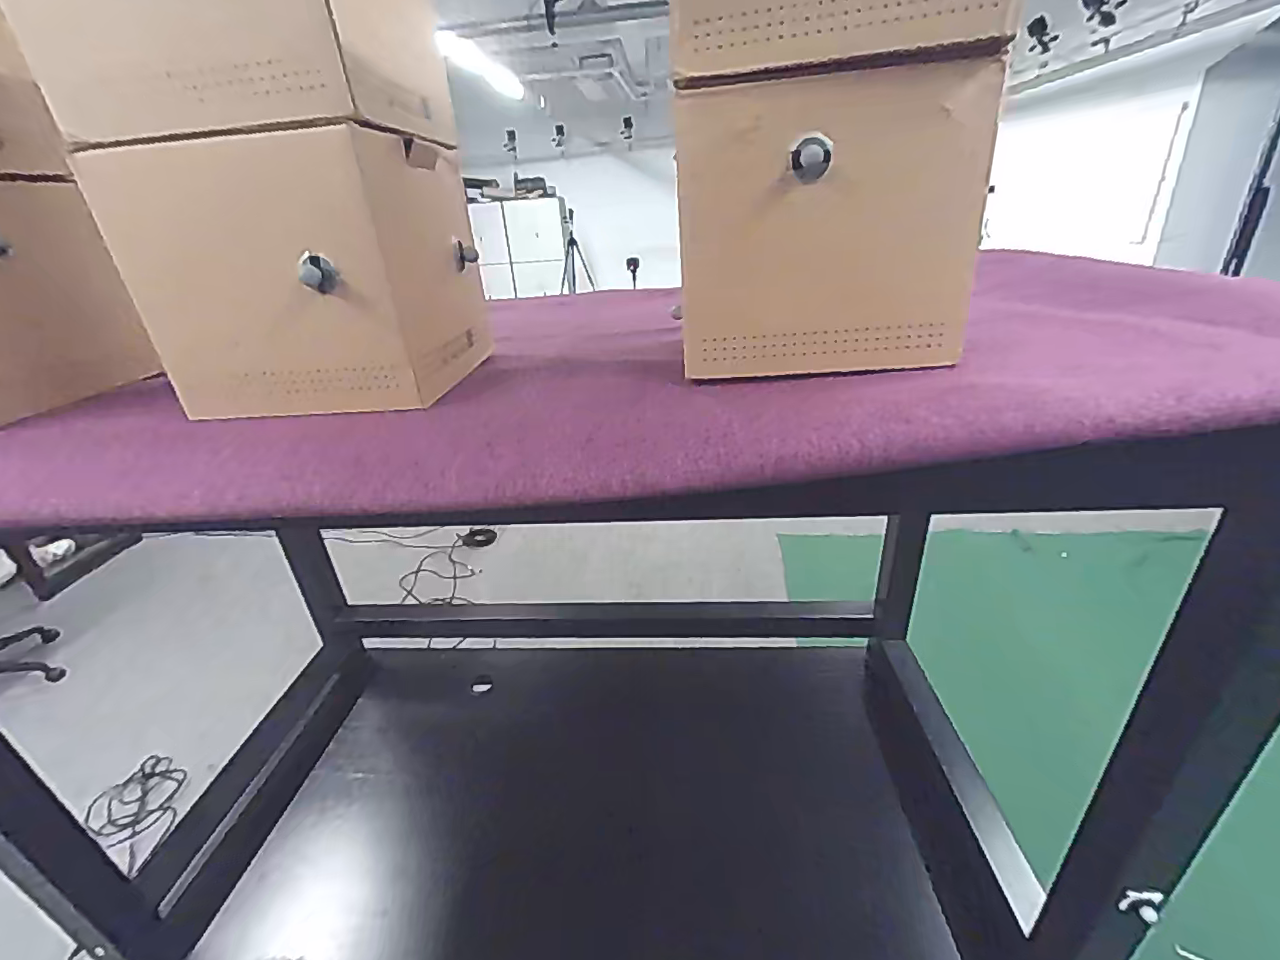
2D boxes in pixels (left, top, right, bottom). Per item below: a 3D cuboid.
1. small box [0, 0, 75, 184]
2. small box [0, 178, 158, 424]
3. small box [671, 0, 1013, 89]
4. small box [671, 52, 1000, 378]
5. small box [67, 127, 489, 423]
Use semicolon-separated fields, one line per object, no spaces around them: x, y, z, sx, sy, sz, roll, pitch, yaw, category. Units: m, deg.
-0.560;-0.284;0.352;0.179;0.176;0.168;-2;28;3;small box
-0.551;-0.140;0.426;0.168;0.176;0.179;-1;27;4;small box
0.109;-0.322;0.322;0.179;0.176;0.168;-1;25;10;small box
0.118;-0.174;0.393;0.179;0.176;0.168;-1;25;7;small box
-0.230;-0.150;0.406;0.179;0.176;0.168;-3;26;5;small box
